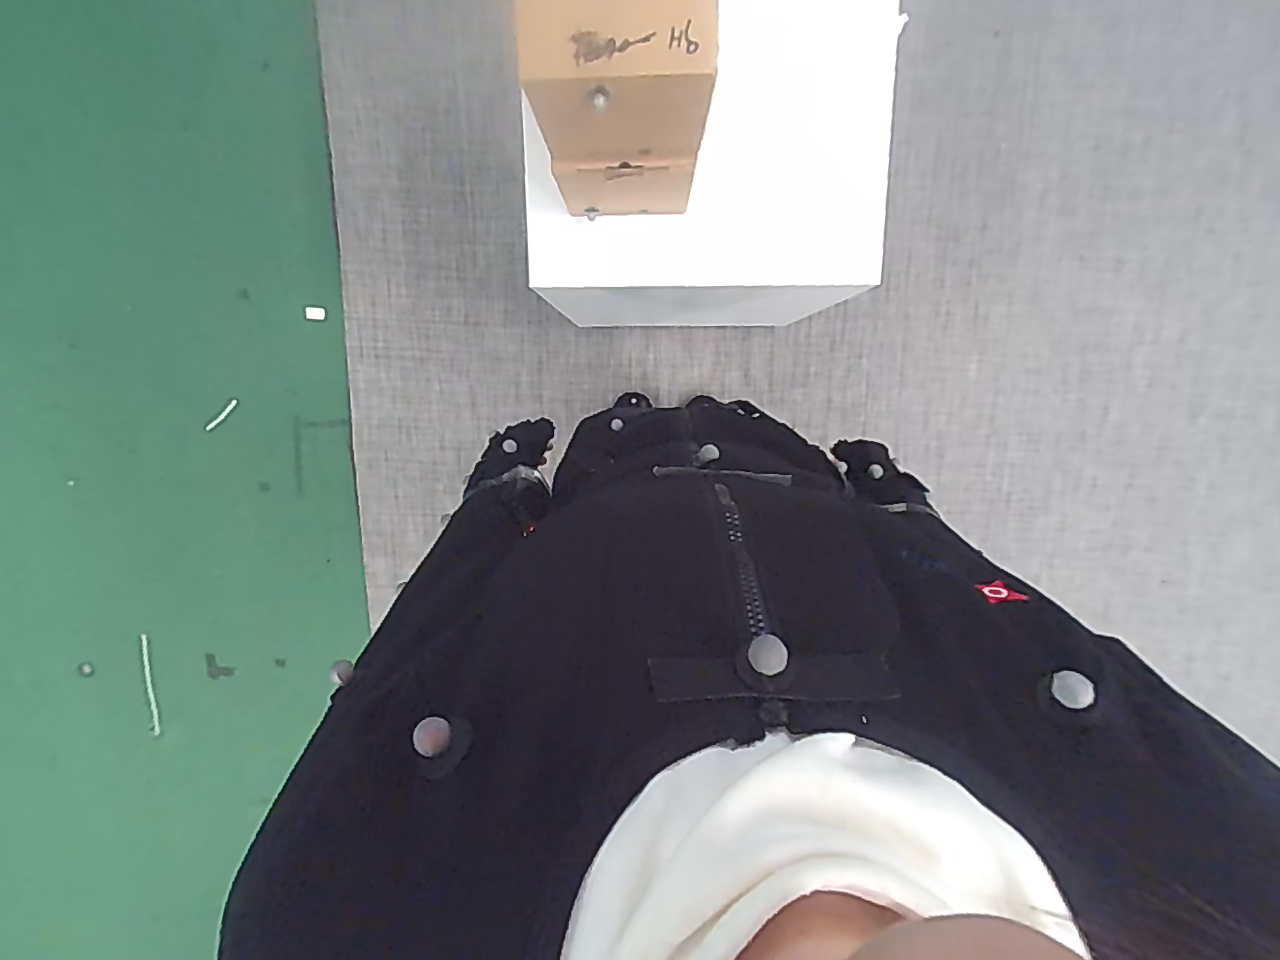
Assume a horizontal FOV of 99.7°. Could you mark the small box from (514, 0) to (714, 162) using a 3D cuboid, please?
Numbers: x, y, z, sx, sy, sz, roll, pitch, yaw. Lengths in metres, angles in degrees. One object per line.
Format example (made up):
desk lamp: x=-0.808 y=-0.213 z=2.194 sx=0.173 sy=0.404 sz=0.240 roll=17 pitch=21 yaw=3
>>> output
small box: x=-0.021 y=-0.432 z=0.514 sx=0.168 sy=0.176 sz=0.179 roll=-1 pitch=99 yaw=1

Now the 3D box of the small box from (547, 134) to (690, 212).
small box: x=-0.022 y=-0.449 z=0.677 sx=0.168 sy=0.176 sz=0.179 roll=-1 pitch=99 yaw=1
